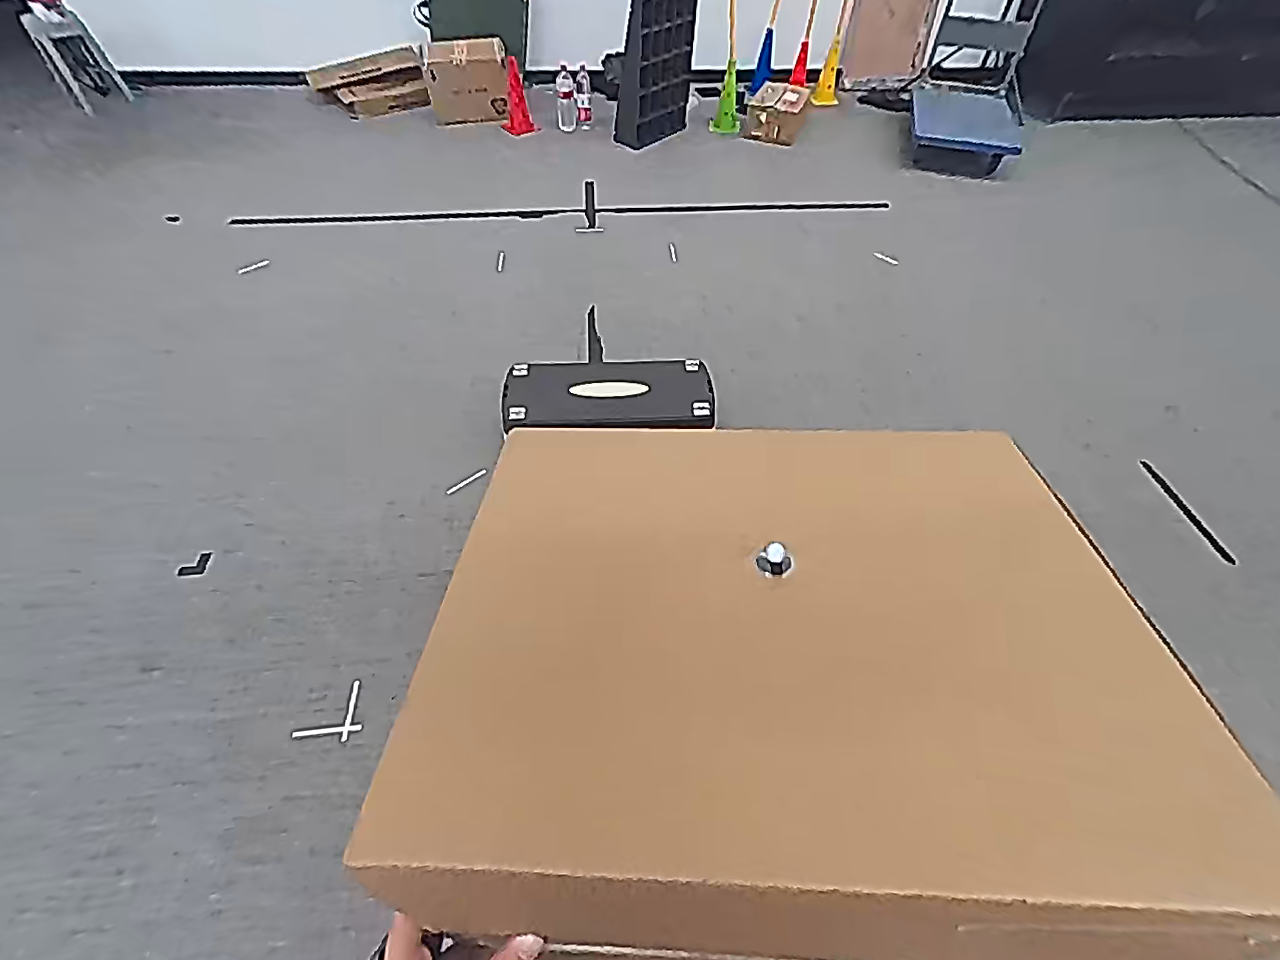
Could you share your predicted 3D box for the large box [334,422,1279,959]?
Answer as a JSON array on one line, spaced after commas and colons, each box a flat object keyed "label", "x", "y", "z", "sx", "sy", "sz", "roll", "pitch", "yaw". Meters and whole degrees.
[{"label": "large box", "x": 0.075, "y": 0.169, "z": 0.429, "sx": 0.408, "sy": 0.320, "sz": 0.320, "roll": -1, "pitch": 43, "yaw": 4}]

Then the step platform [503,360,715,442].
[{"label": "step platform", "x": -0.097, "y": -0.228, "z": 1.774, "sx": 0.684, "sy": 0.204, "sz": 0.286, "roll": 2, "pitch": 53, "yaw": -1}]
